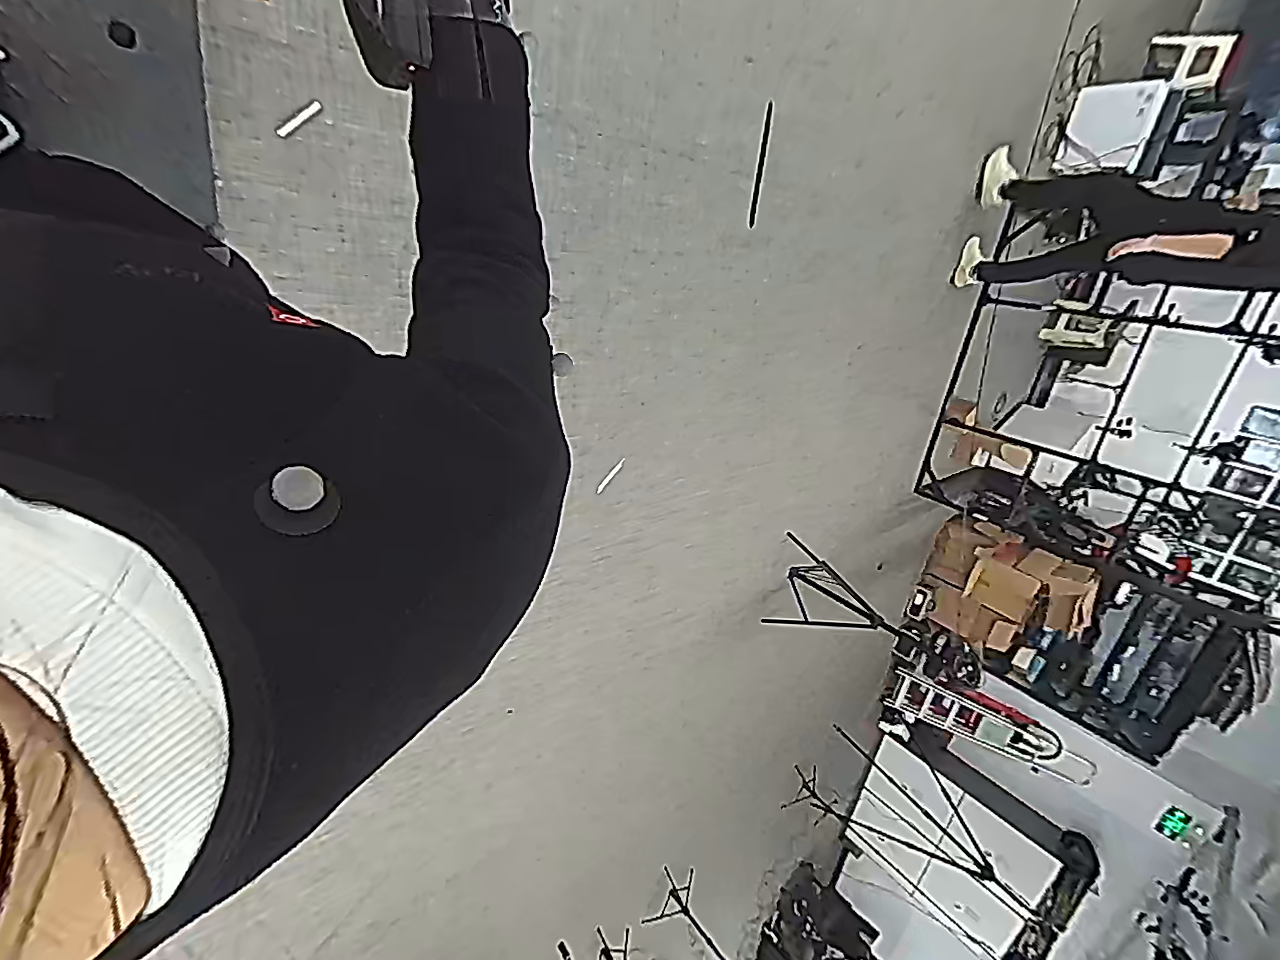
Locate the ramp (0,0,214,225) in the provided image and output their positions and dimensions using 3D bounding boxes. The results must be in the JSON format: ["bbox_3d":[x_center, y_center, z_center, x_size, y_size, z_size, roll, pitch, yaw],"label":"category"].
[{"bbox_3d":[-0.903,-0.896,0.696,0.509,0.206,0.991,-12,120,-40],"label":"ramp"}]
